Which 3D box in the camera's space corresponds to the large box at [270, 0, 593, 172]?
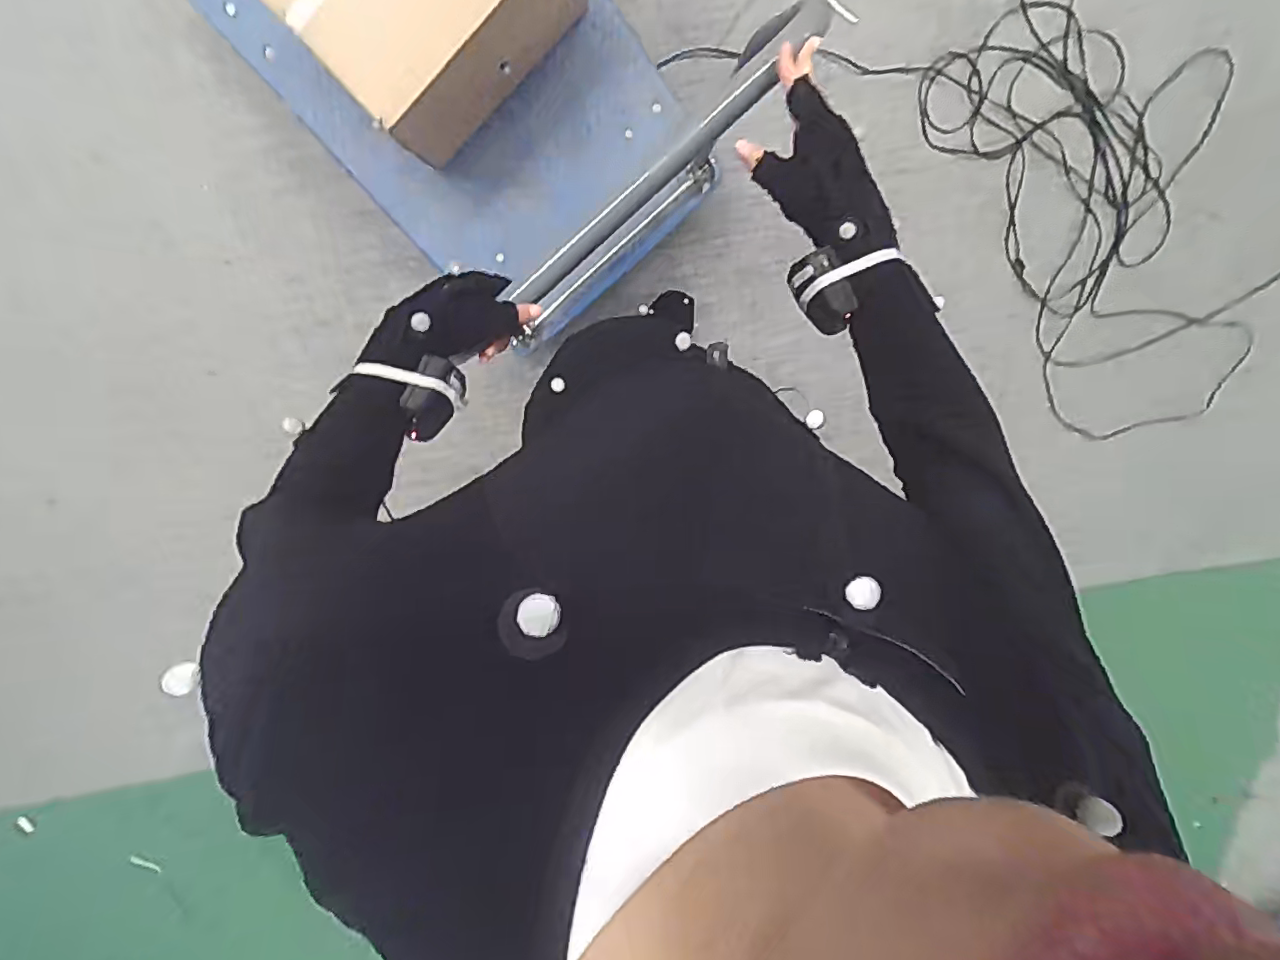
[{"bbox_3d":[-0.314,-0.780,0.844,0.408,0.320,0.320,-42,108,11],"label":"large box"}]
